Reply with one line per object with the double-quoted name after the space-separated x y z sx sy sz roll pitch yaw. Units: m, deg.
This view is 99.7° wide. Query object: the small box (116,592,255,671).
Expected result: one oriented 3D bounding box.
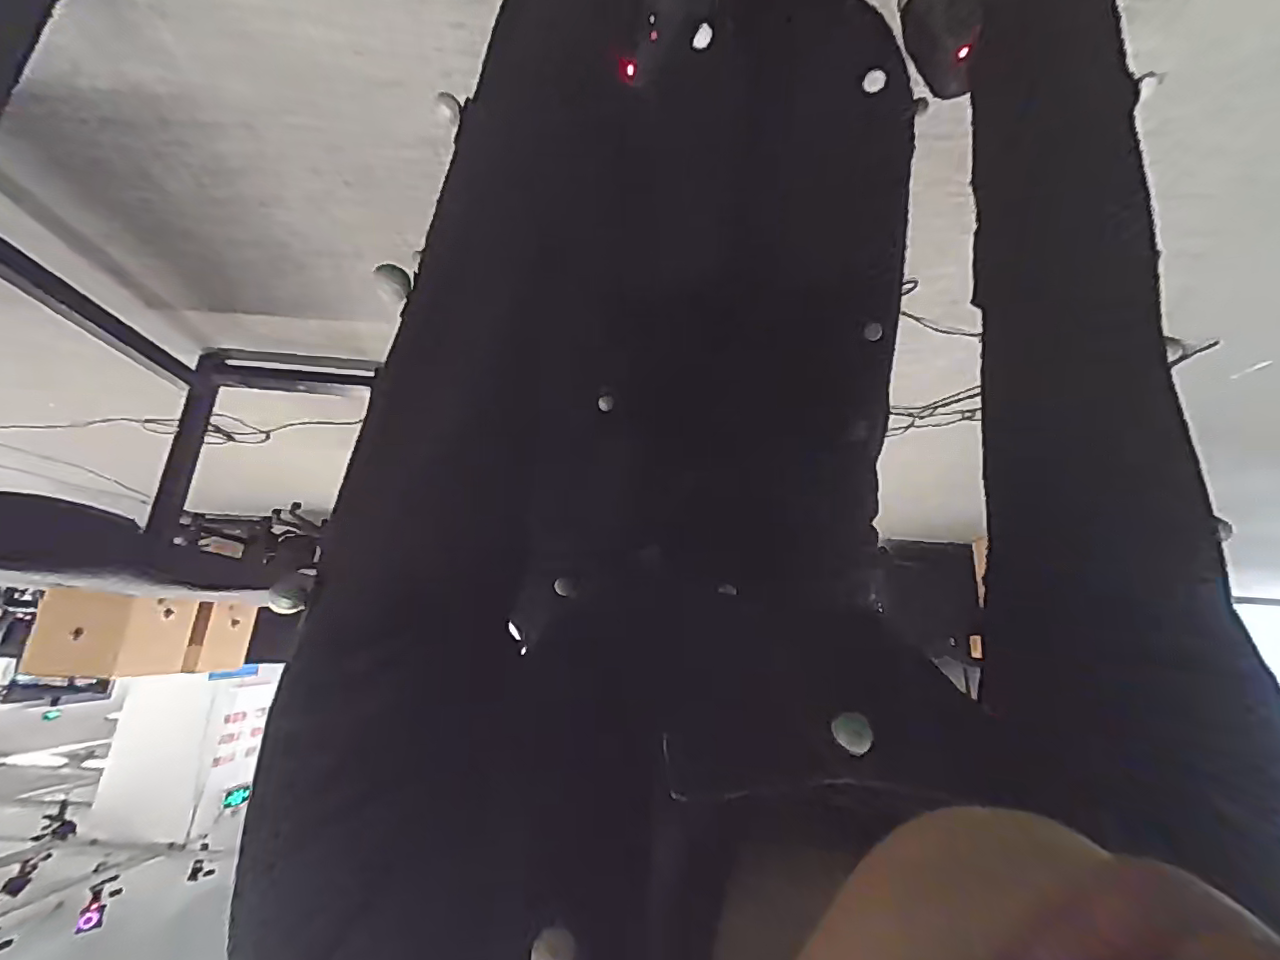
-1.073 0.362 1.294 0.179 0.176 0.168 4 163 -2 "small box"
